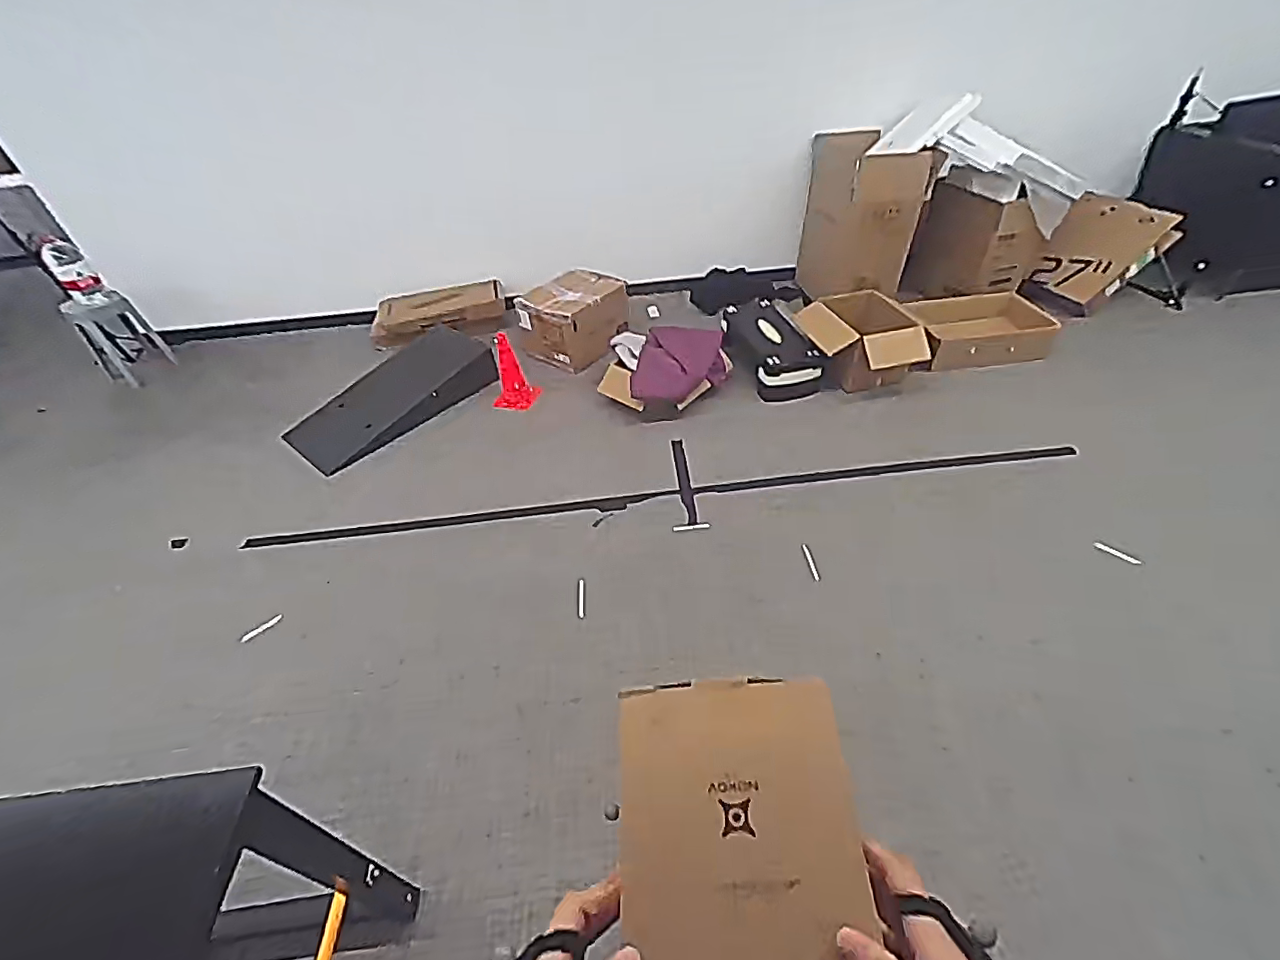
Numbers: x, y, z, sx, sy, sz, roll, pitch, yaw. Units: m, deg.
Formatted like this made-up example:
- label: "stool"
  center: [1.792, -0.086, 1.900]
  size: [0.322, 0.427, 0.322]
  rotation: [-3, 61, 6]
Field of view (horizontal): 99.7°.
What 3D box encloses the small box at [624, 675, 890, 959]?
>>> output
- label: "small box"
  center: [0.073, 0.273, 0.443]
  size: [0.168, 0.176, 0.179]
  rotation: [-4, 57, 1]
